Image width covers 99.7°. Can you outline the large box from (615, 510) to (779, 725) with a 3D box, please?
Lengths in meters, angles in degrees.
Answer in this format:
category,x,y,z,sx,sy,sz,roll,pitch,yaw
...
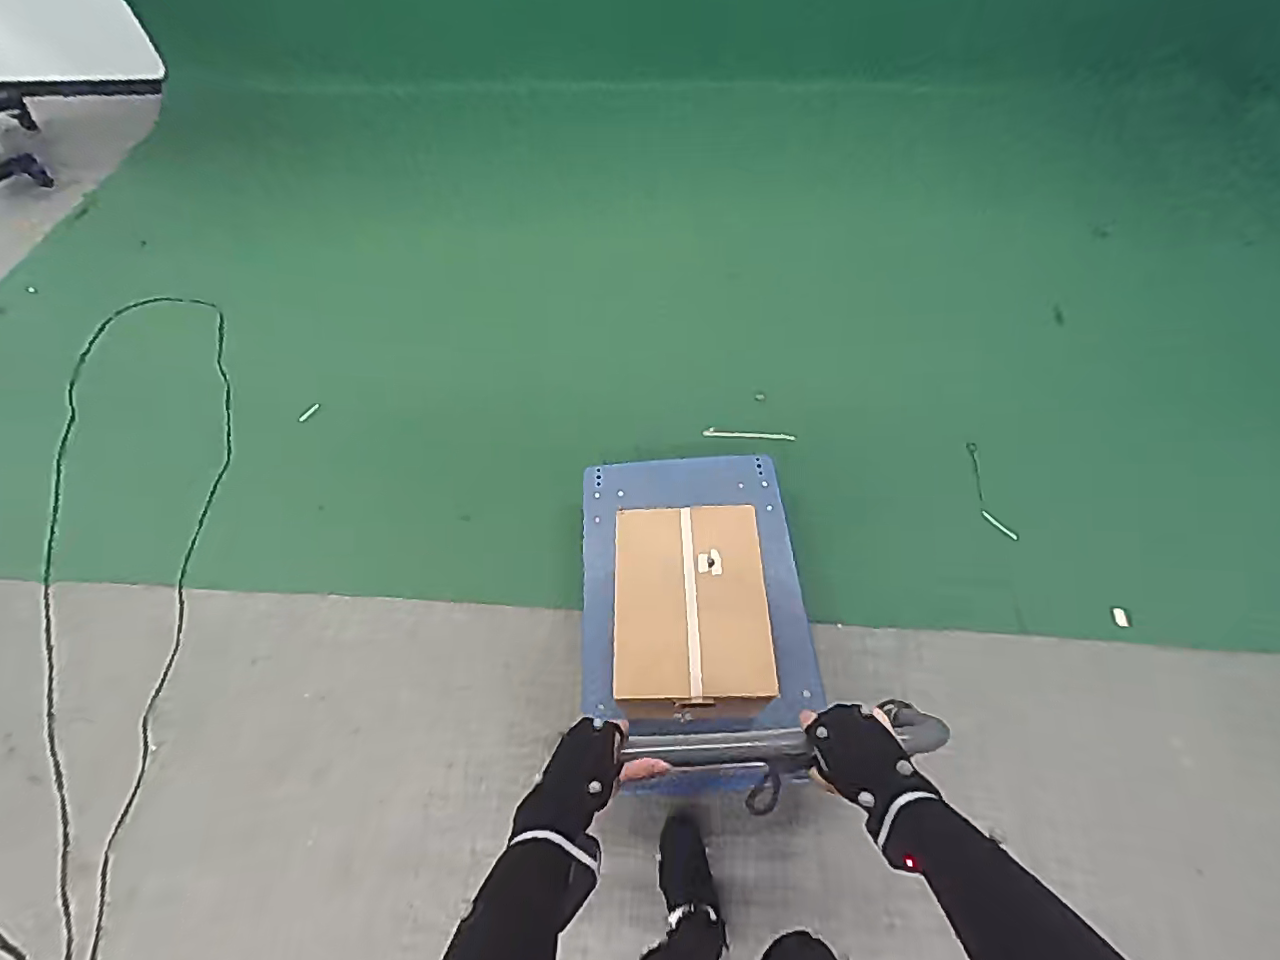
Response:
category,x,y,z,sx,sy,sz,roll,pitch,yaw
large box,0.114,0.322,1.244,0.320,0.320,0.408,-2,58,2
